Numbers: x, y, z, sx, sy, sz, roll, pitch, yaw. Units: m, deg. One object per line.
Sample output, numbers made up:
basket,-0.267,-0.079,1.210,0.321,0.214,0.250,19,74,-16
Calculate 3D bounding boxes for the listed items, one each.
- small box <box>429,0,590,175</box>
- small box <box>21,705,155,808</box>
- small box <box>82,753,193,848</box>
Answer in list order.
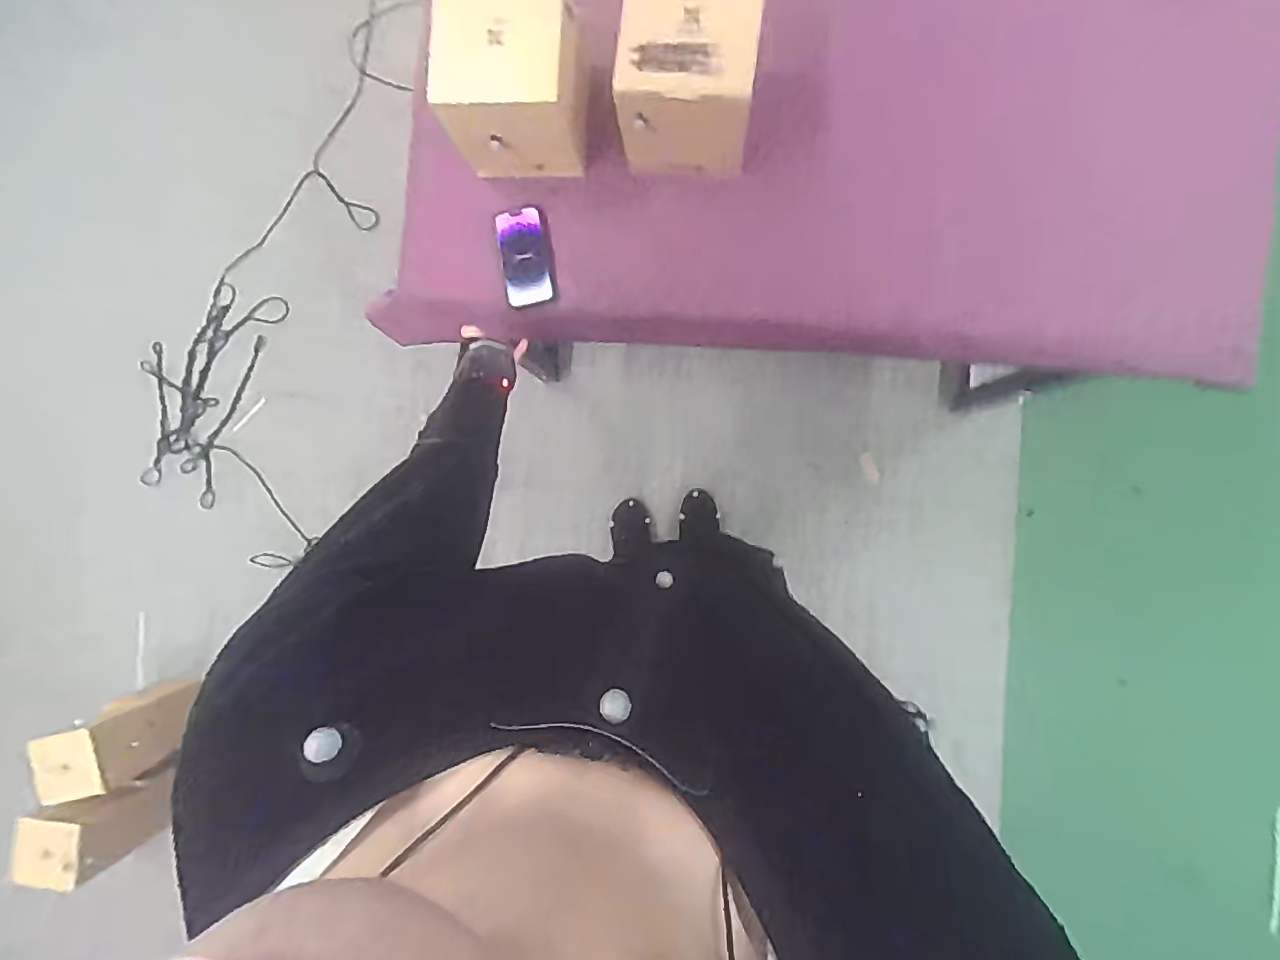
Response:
small box,-0.165,-0.542,0.735,0.168,0.176,0.179,3,88,6
small box,-1.401,0.702,1.390,0.179,0.176,0.168,-14,88,6
small box,-1.433,0.910,1.552,0.168,0.176,0.179,3,90,6
